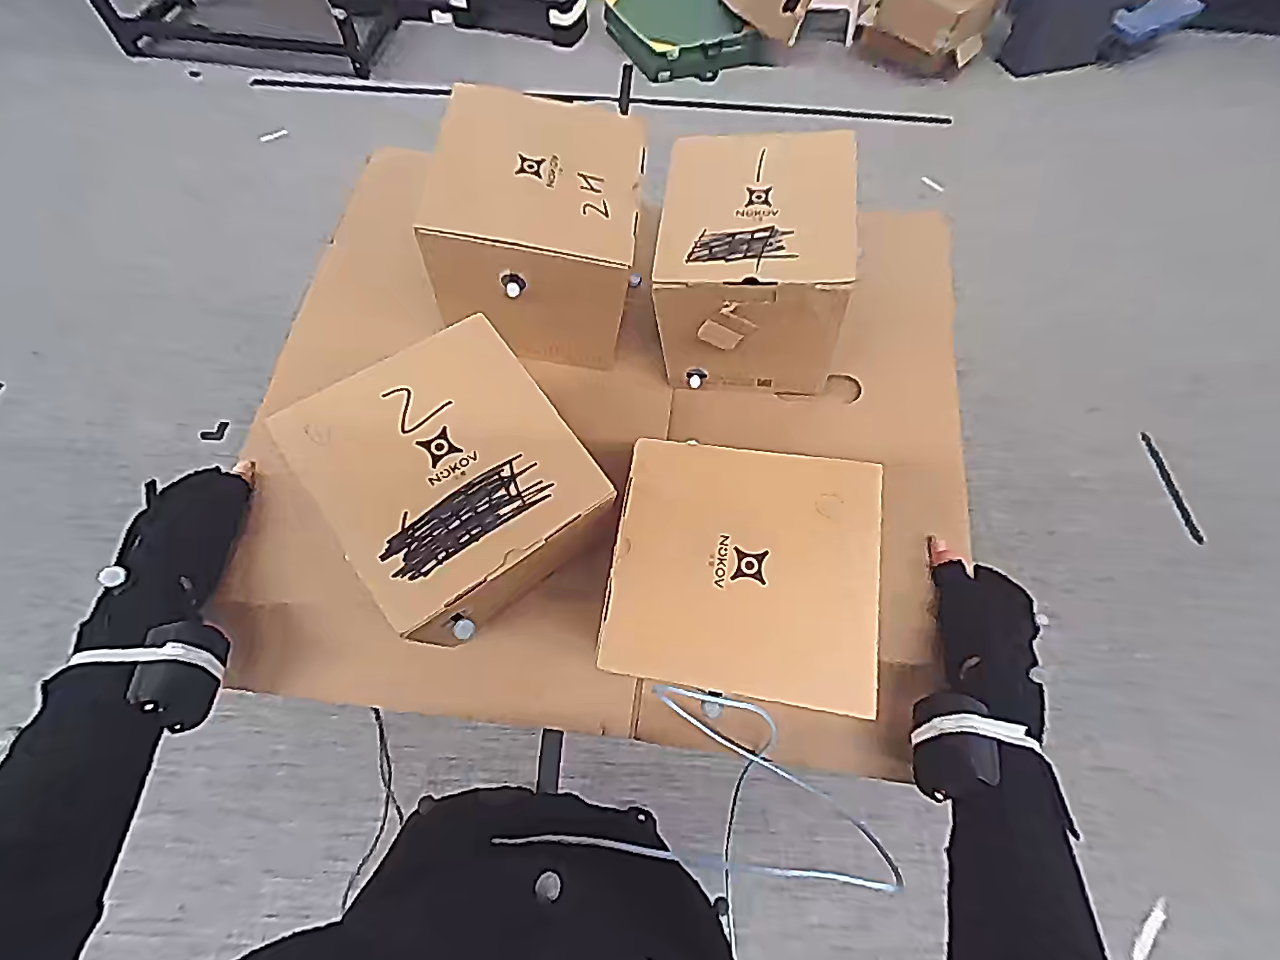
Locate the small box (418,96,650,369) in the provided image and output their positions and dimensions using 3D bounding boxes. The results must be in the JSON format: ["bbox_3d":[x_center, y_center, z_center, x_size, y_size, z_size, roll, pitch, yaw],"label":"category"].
[{"bbox_3d":[-0.096,-0.230,0.540,0.179,0.176,0.168,9,70,-7],"label":"small box"}]
